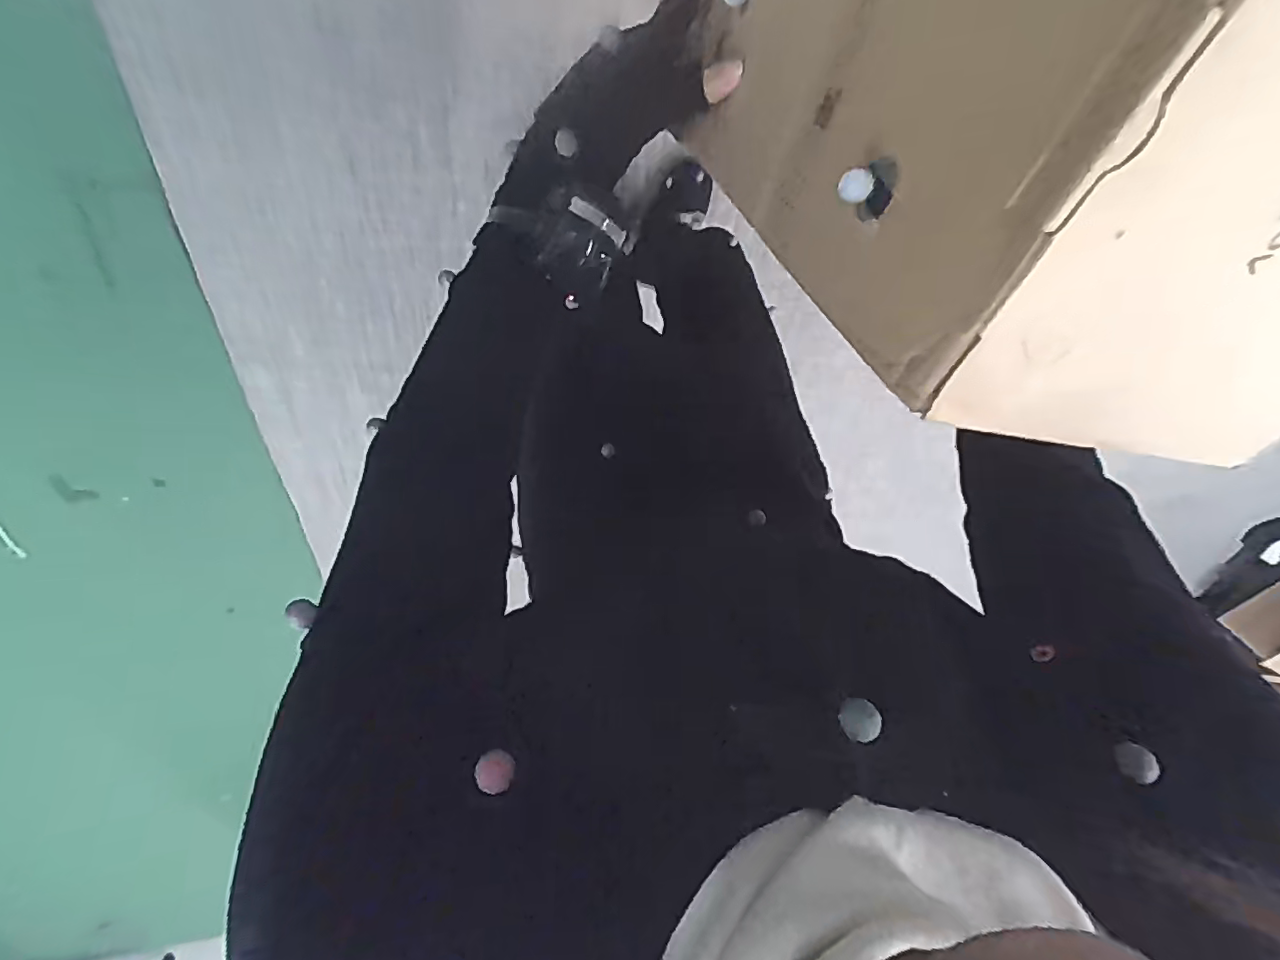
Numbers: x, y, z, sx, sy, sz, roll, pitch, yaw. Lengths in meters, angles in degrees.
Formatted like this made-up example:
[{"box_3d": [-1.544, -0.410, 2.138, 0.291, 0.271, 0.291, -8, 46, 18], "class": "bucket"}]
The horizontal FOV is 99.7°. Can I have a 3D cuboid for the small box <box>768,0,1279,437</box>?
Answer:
[{"box_3d": [0.173, -0.138, 0.201, 0.179, 0.176, 0.168, 3, 135, -17], "class": "small box"}]

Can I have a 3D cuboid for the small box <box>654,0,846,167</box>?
[{"box_3d": [0.115, -0.366, 0.426, 0.168, 0.176, 0.179, 5, 134, -16], "class": "small box"}]
